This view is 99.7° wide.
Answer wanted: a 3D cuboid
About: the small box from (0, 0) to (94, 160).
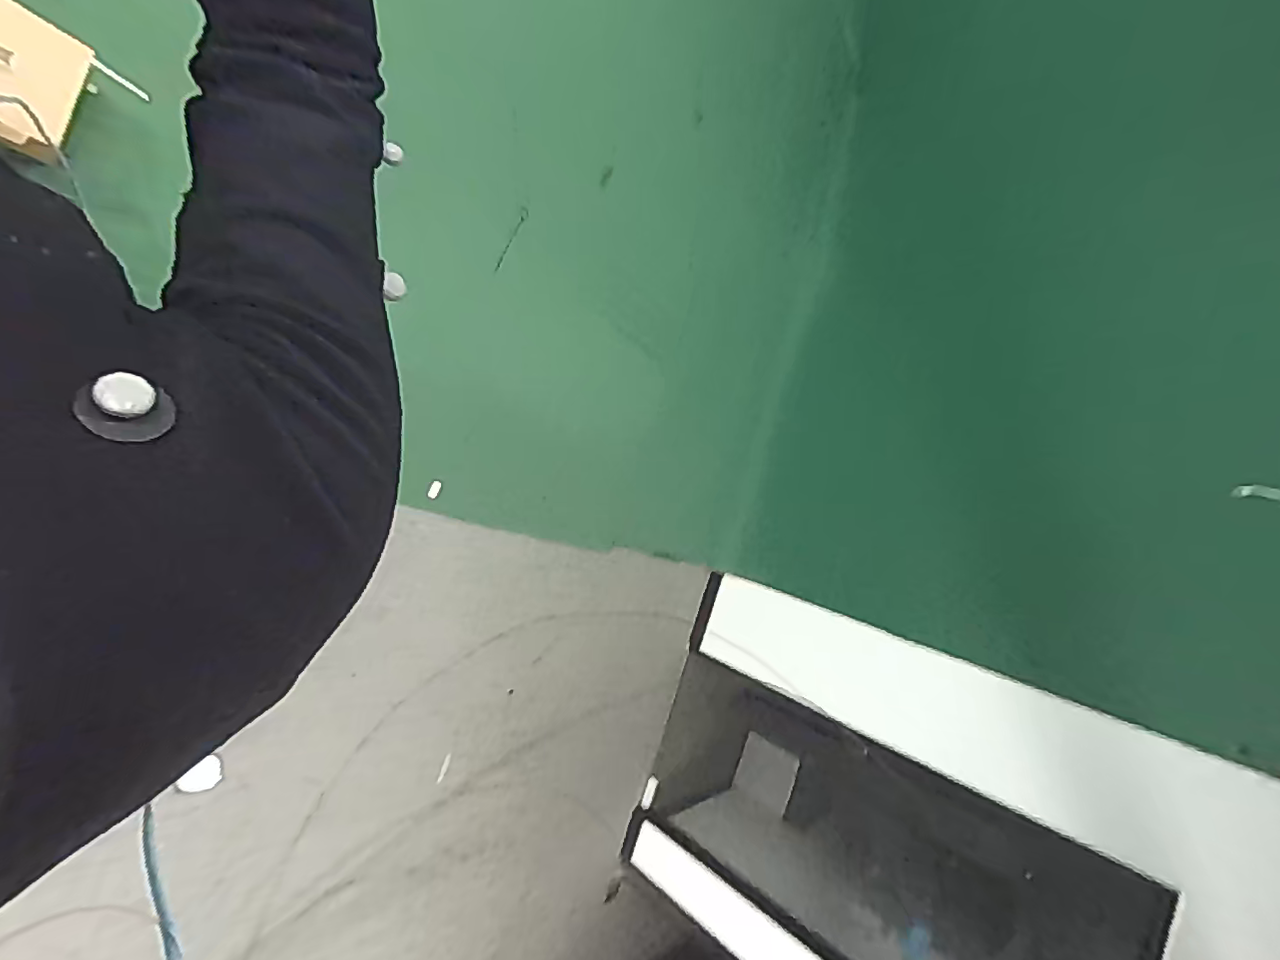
[{"bbox_3d":[-1.009,-0.641,0.846,0.168,0.176,0.179,22,85,-52],"label":"small box"}]
